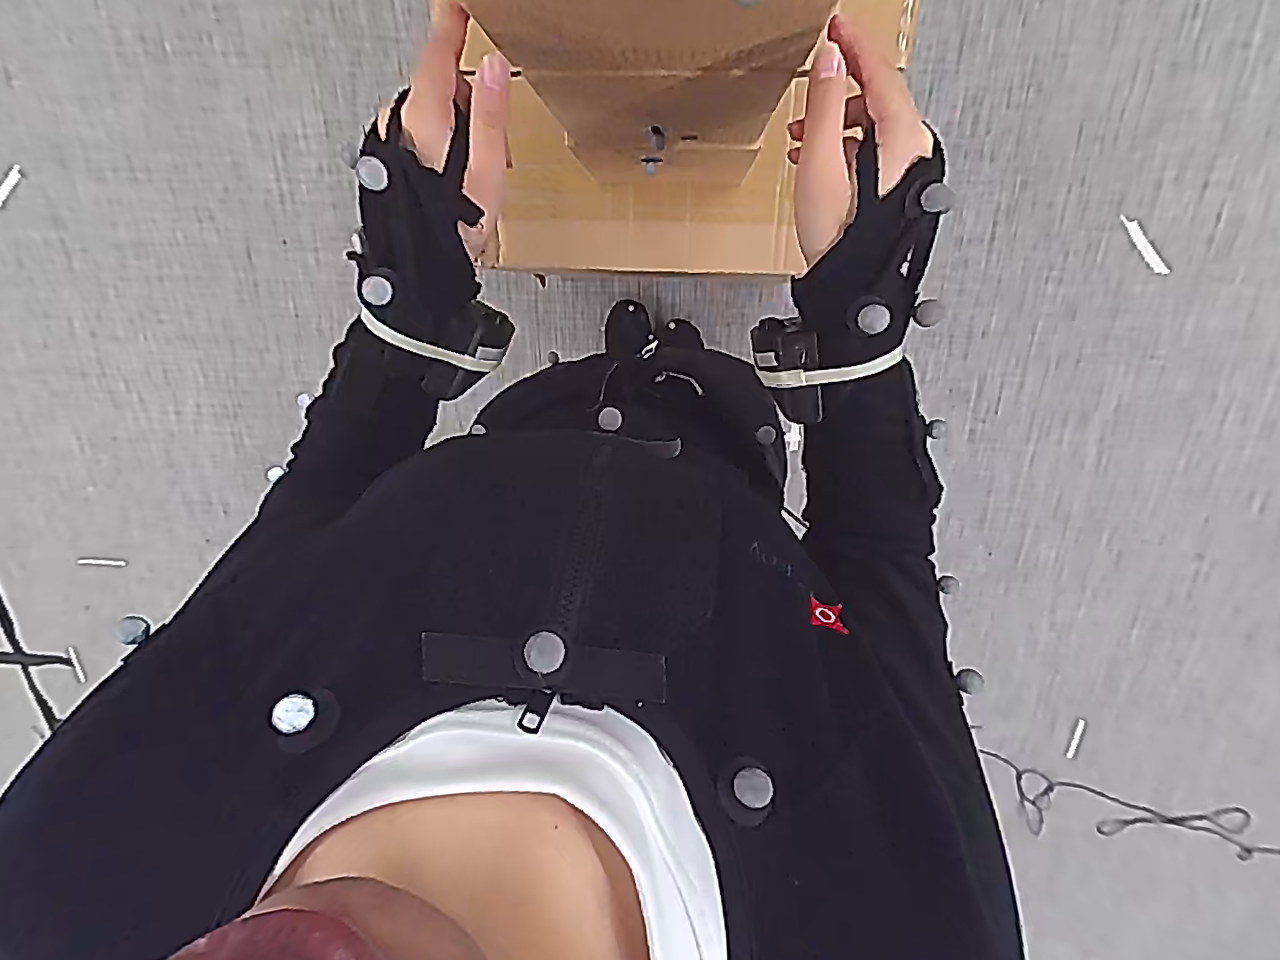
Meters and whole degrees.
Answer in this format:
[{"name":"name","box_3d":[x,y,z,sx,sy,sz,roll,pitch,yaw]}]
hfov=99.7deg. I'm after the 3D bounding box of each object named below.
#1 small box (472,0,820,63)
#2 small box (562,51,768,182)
[{"name":"small box","box_3d":[0.005,-0.294,0.213,0.179,0.176,0.168,3,110,3]},{"name":"small box","box_3d":[0.027,-0.397,0.525,0.179,0.176,0.168,3,110,3]}]
